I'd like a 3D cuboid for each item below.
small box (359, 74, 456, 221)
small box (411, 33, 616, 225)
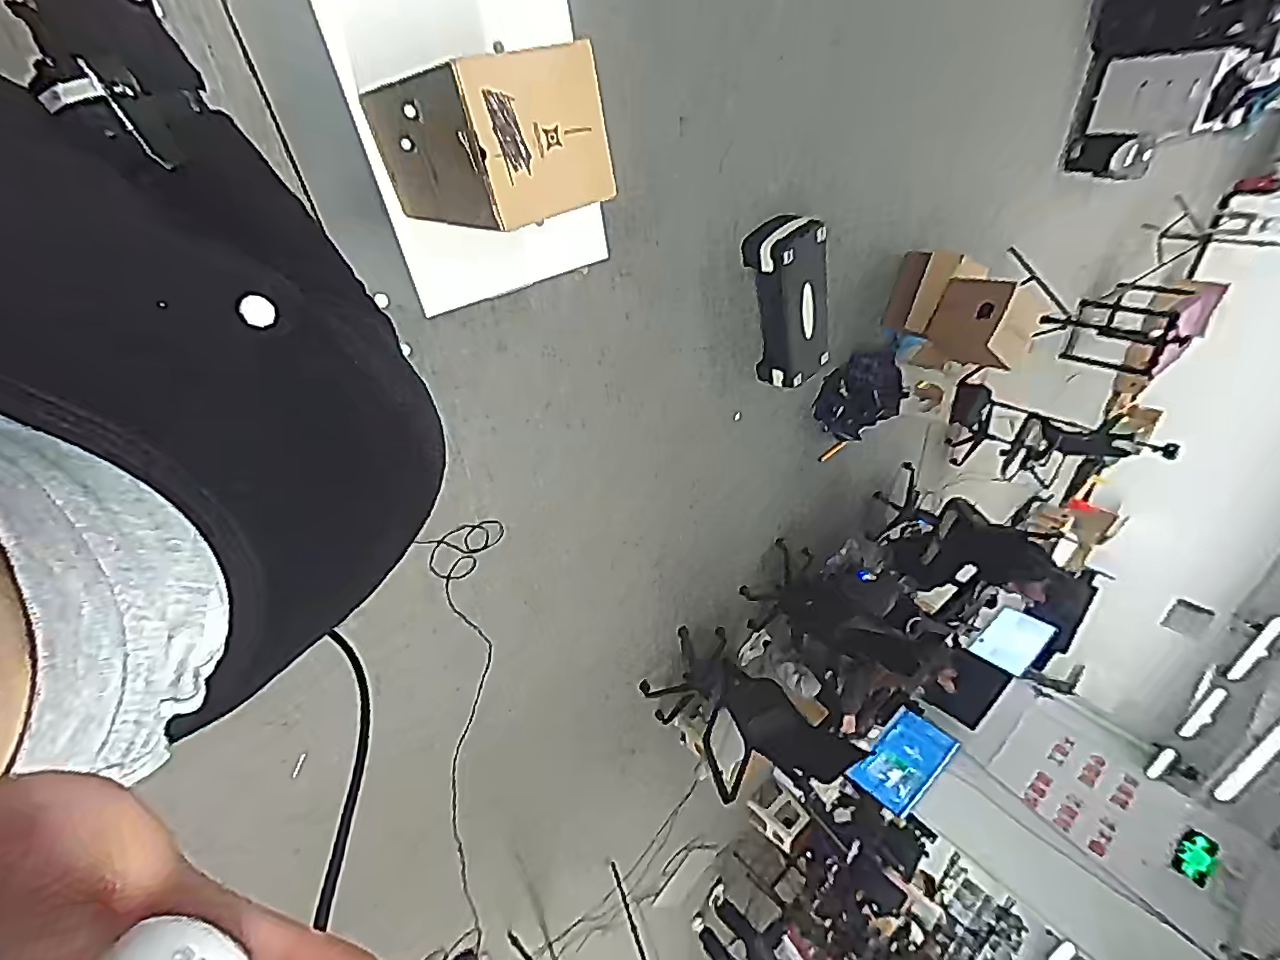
[{"bbox_3d":[-0.268,-0.492,0.787,0.179,0.176,0.168,-36,132,-26],"label":"small box"},{"bbox_3d":[-0.161,-0.431,0.677,0.179,0.176,0.168,-35,133,-27],"label":"small box"}]
